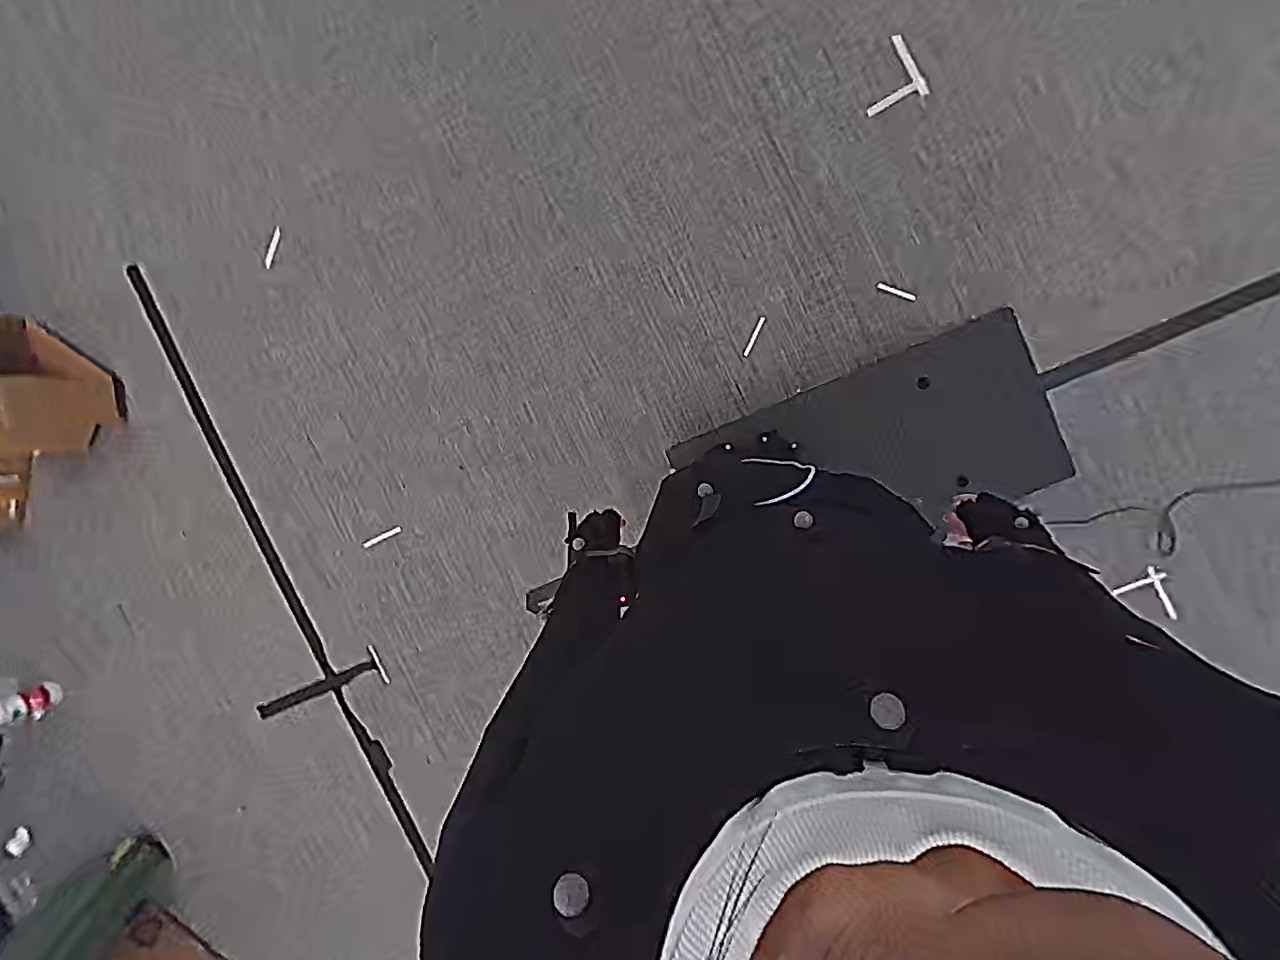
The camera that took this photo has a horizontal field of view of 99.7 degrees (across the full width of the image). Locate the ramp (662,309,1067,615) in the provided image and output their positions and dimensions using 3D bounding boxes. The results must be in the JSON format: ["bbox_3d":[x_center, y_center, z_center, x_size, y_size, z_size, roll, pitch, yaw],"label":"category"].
[{"bbox_3d":[0.604,-0.052,1.455,0.991,0.206,0.509,-24,90,10],"label":"ramp"}]
